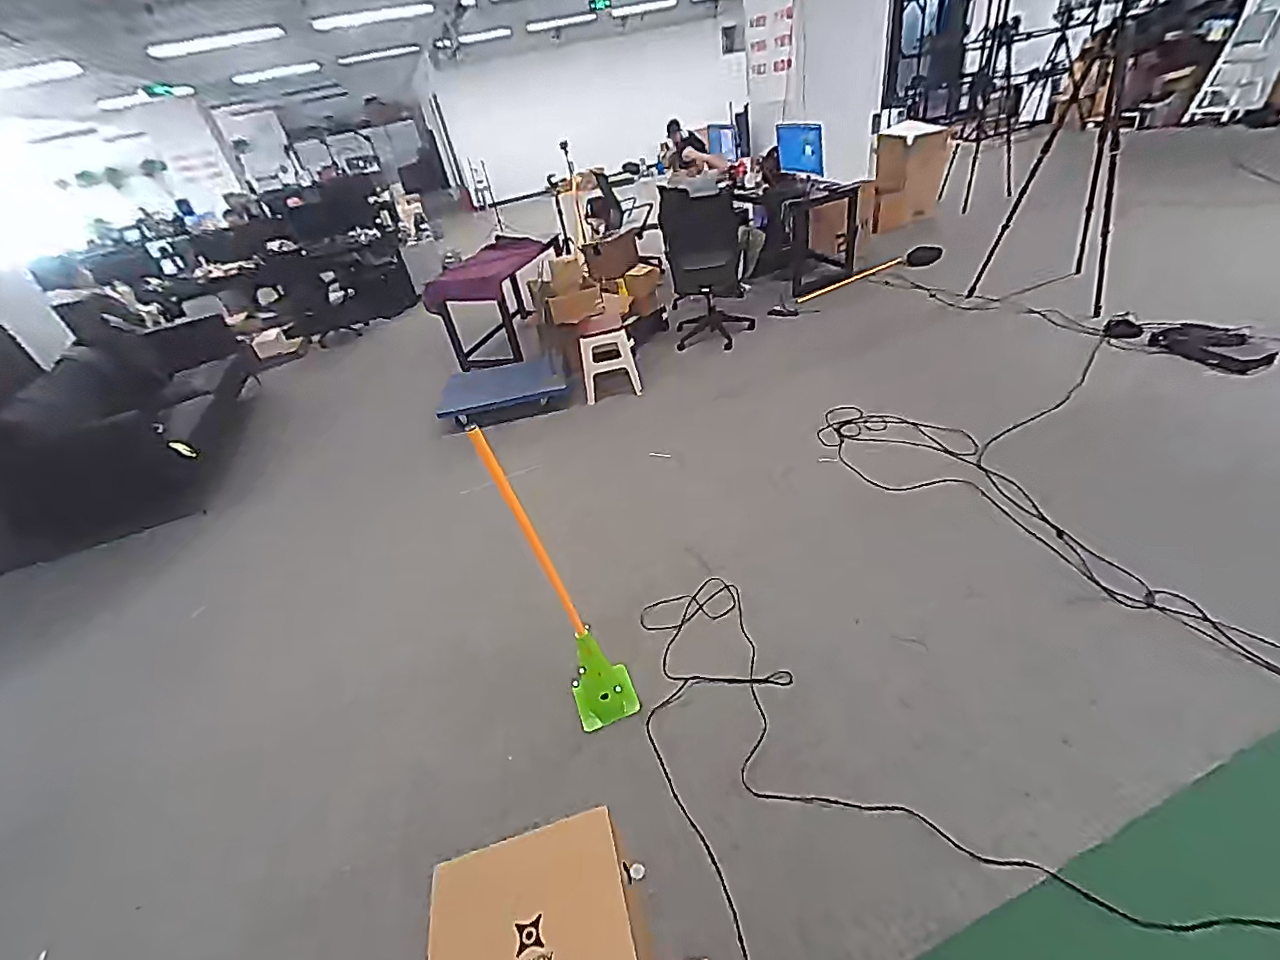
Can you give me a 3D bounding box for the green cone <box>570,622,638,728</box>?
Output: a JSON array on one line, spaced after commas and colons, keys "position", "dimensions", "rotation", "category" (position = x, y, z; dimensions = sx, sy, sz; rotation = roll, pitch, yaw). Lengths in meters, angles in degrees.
[{"position": [-0.150, 0.593, 1.741], "dimensions": [0.202, 0.368, 0.200], "rotation": [-19, 37, -11], "category": "green cone"}]
